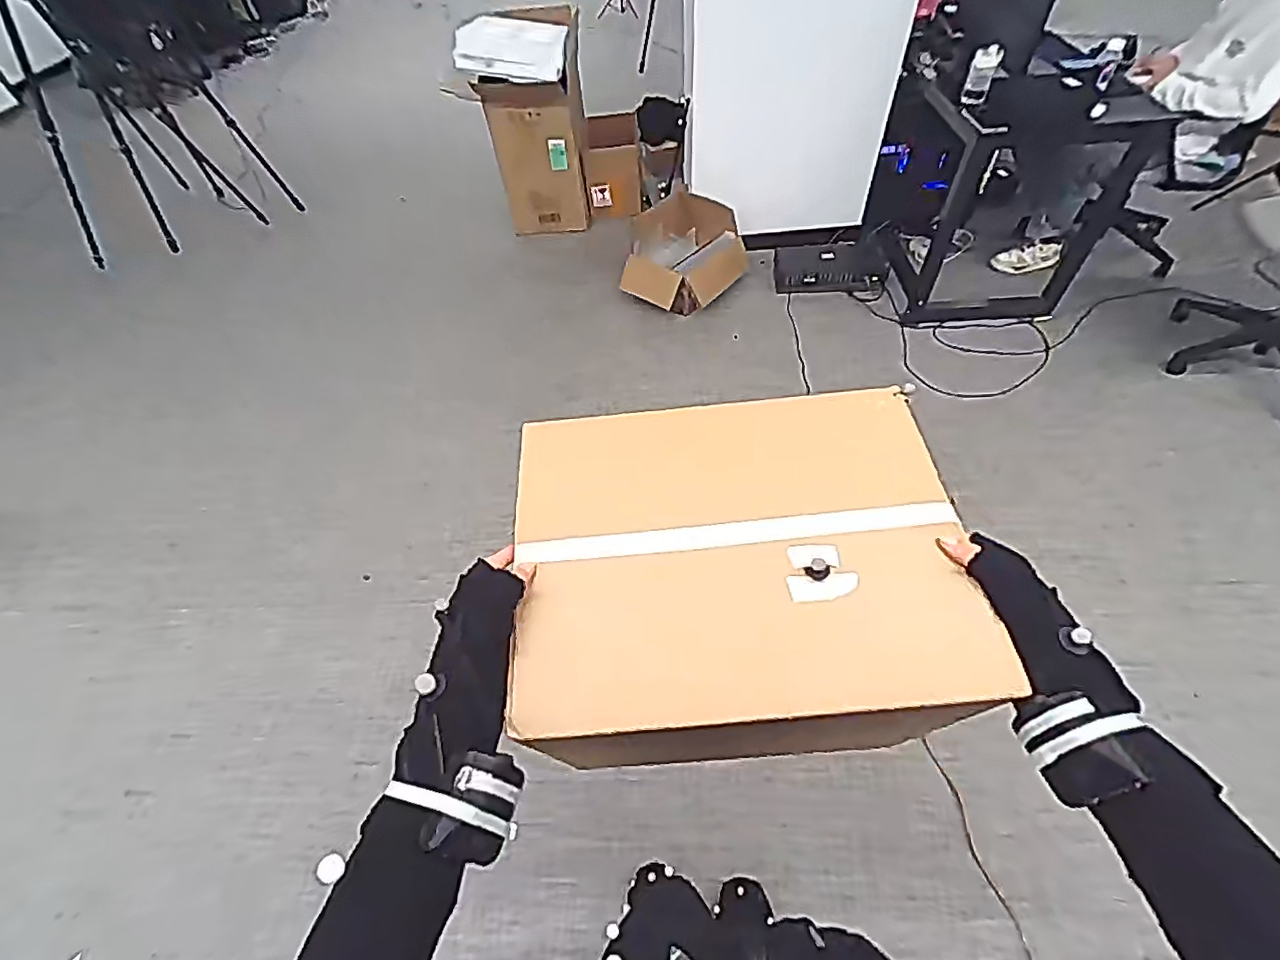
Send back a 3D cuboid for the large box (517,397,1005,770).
[{"bbox_3d":[0.093,0.137,0.636,0.408,0.320,0.320,-6,58,1],"label":"large box"}]
